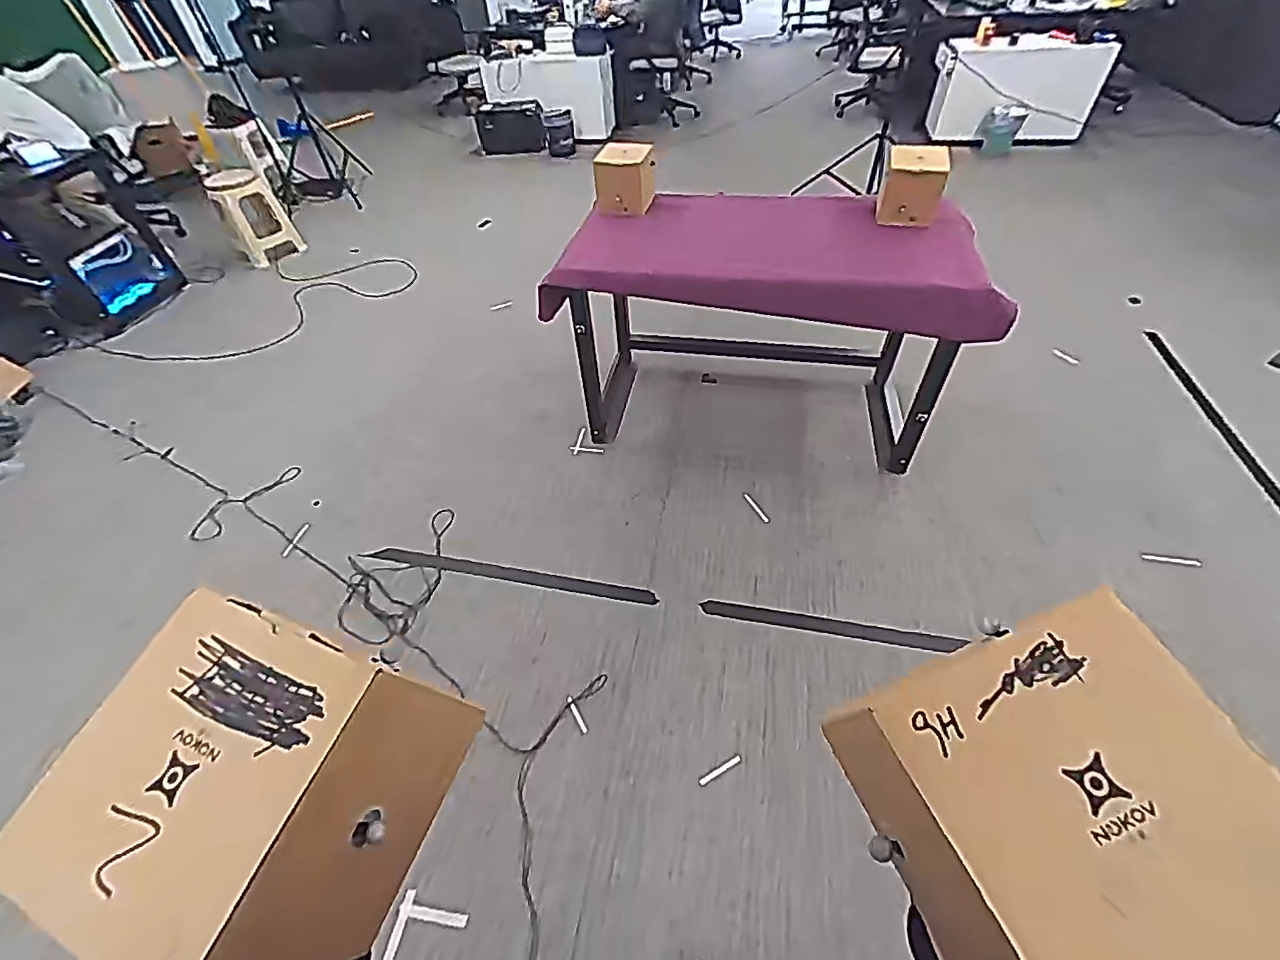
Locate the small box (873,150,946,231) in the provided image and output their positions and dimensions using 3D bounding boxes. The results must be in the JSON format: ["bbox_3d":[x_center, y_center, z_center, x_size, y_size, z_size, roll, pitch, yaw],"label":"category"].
[{"bbox_3d":[0.841,-0.910,1.699,0.168,0.176,0.179,10,53,13],"label":"small box"}]

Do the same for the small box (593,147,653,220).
[{"bbox_3d":[-0.053,-1.024,1.864,0.168,0.176,0.179,10,51,13],"label":"small box"}]

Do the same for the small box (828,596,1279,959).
[{"bbox_3d":[0.250,0.204,0.353,0.168,0.176,0.179,-23,63,-5],"label":"small box"}]
